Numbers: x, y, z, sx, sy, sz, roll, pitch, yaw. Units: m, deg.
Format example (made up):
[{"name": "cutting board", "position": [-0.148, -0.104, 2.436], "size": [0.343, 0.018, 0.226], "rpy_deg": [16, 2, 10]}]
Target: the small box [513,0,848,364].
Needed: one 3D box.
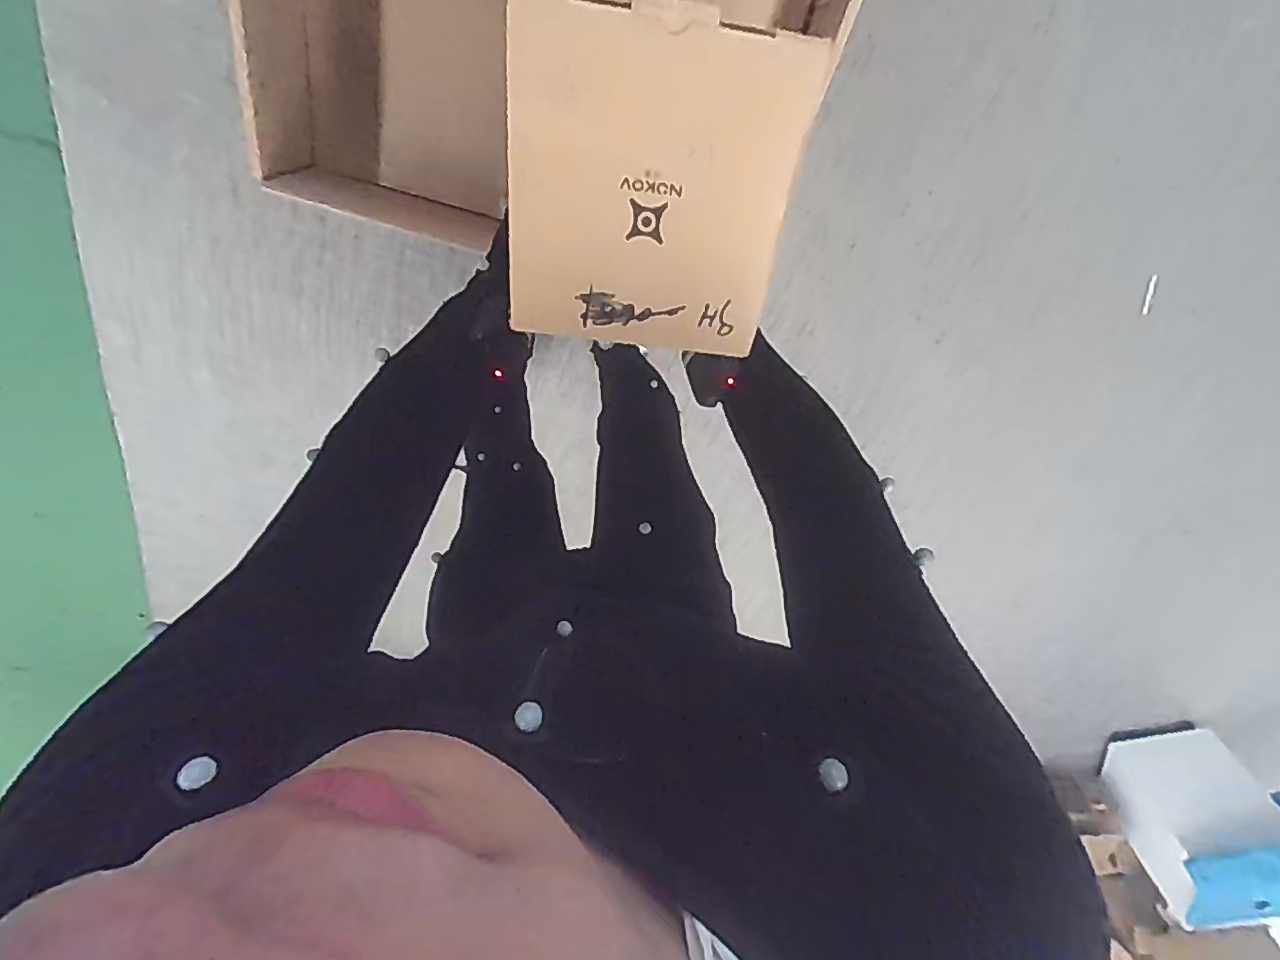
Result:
[{"name": "small box", "position": [0.009, -0.203, 0.369], "size": [0.168, 0.176, 0.179], "rpy_deg": [6, 127, -5]}]
